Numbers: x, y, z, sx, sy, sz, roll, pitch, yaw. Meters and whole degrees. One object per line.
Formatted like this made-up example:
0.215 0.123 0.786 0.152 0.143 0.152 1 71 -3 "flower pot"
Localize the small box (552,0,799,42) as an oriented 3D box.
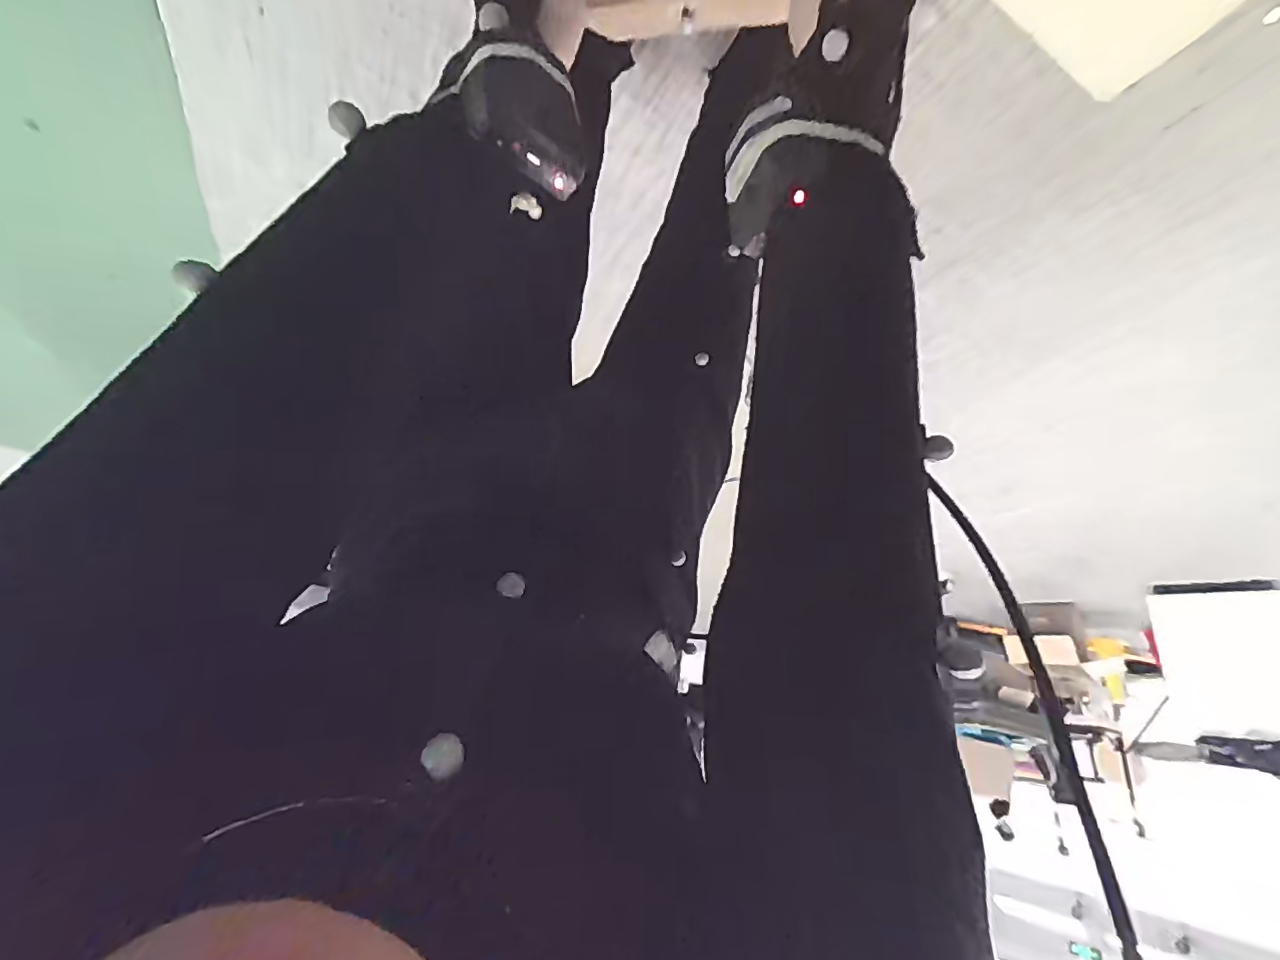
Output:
0.034 -0.426 0.379 0.179 0.176 0.168 2 124 9 "small box"
